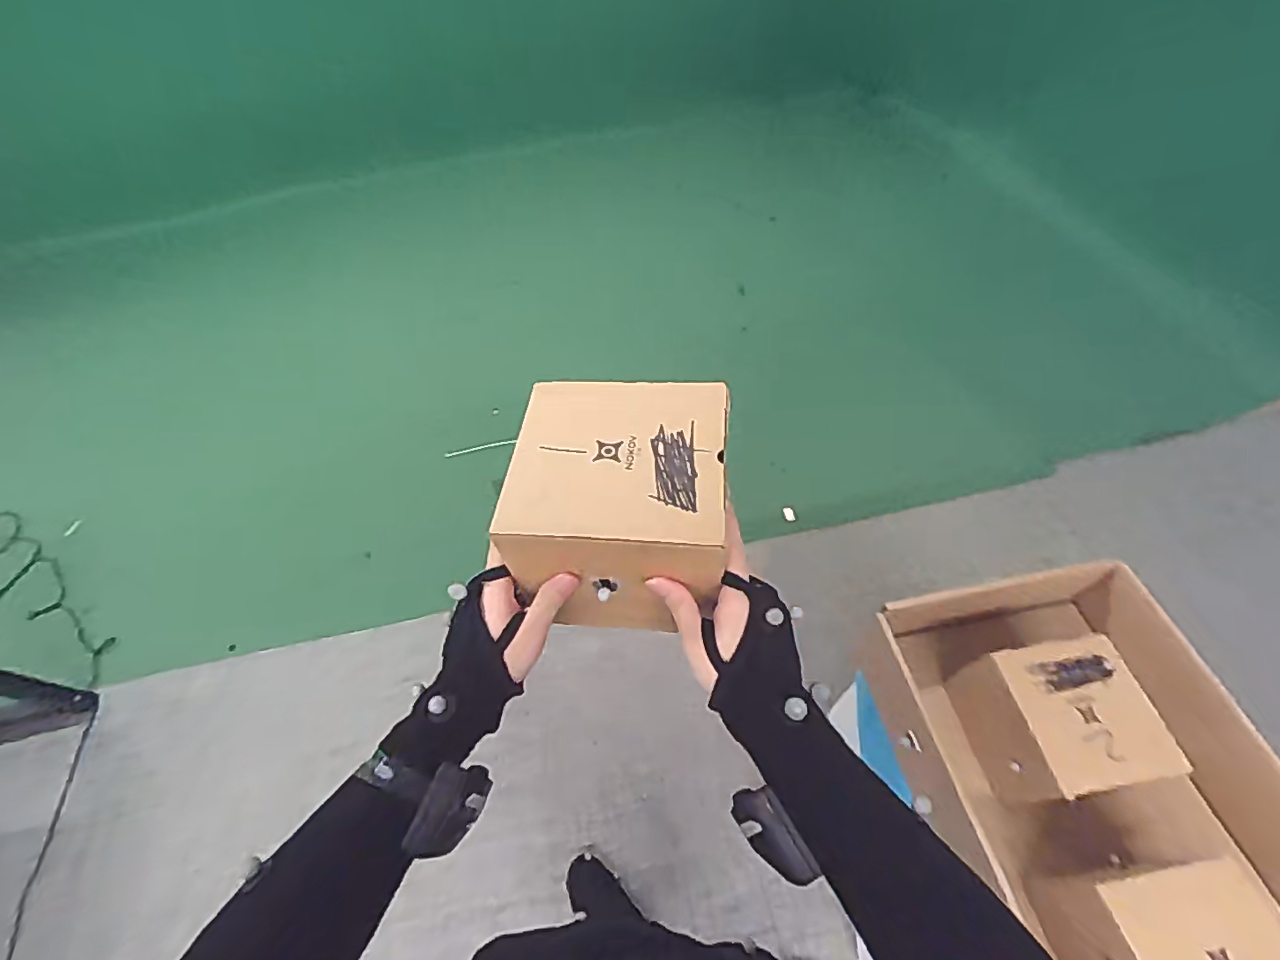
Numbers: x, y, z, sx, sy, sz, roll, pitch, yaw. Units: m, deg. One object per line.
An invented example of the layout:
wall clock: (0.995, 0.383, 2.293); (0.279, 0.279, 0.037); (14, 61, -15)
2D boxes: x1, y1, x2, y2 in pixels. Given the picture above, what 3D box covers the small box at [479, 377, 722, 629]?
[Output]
small box: (-0.018, 0.025, 0.493); (0.179, 0.176, 0.168); (1, 52, 7)
